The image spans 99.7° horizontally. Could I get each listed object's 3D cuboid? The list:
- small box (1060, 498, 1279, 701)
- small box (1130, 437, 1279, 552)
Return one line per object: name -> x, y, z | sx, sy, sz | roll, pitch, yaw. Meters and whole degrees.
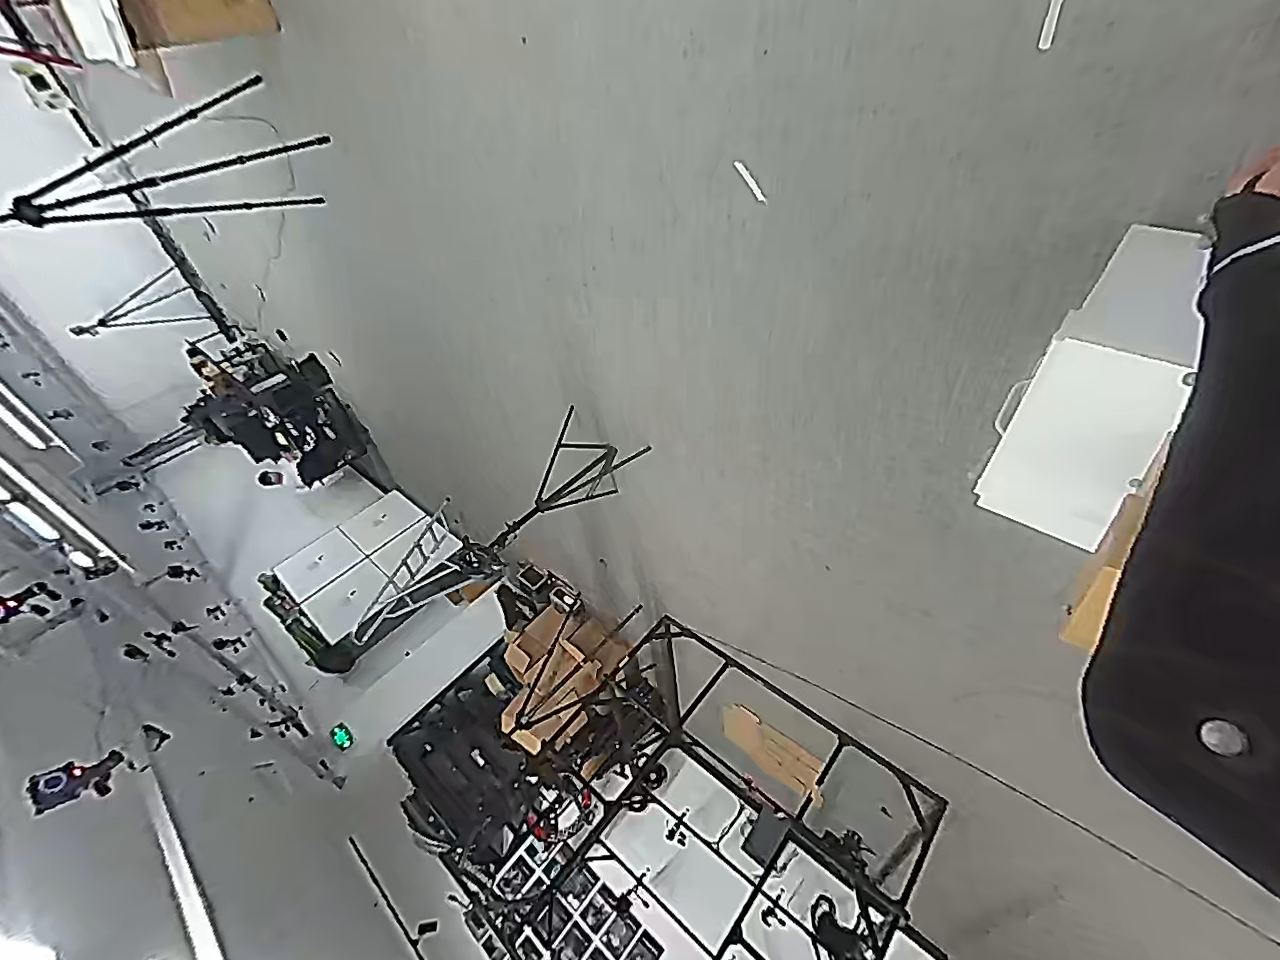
small box -> 0.720, 0.153, 0.740 | 0.168, 0.176, 0.179 | 25, 143, 36
small box -> 0.843, 0.059, 0.797 | 0.179, 0.176, 0.168 | 25, 141, 37
